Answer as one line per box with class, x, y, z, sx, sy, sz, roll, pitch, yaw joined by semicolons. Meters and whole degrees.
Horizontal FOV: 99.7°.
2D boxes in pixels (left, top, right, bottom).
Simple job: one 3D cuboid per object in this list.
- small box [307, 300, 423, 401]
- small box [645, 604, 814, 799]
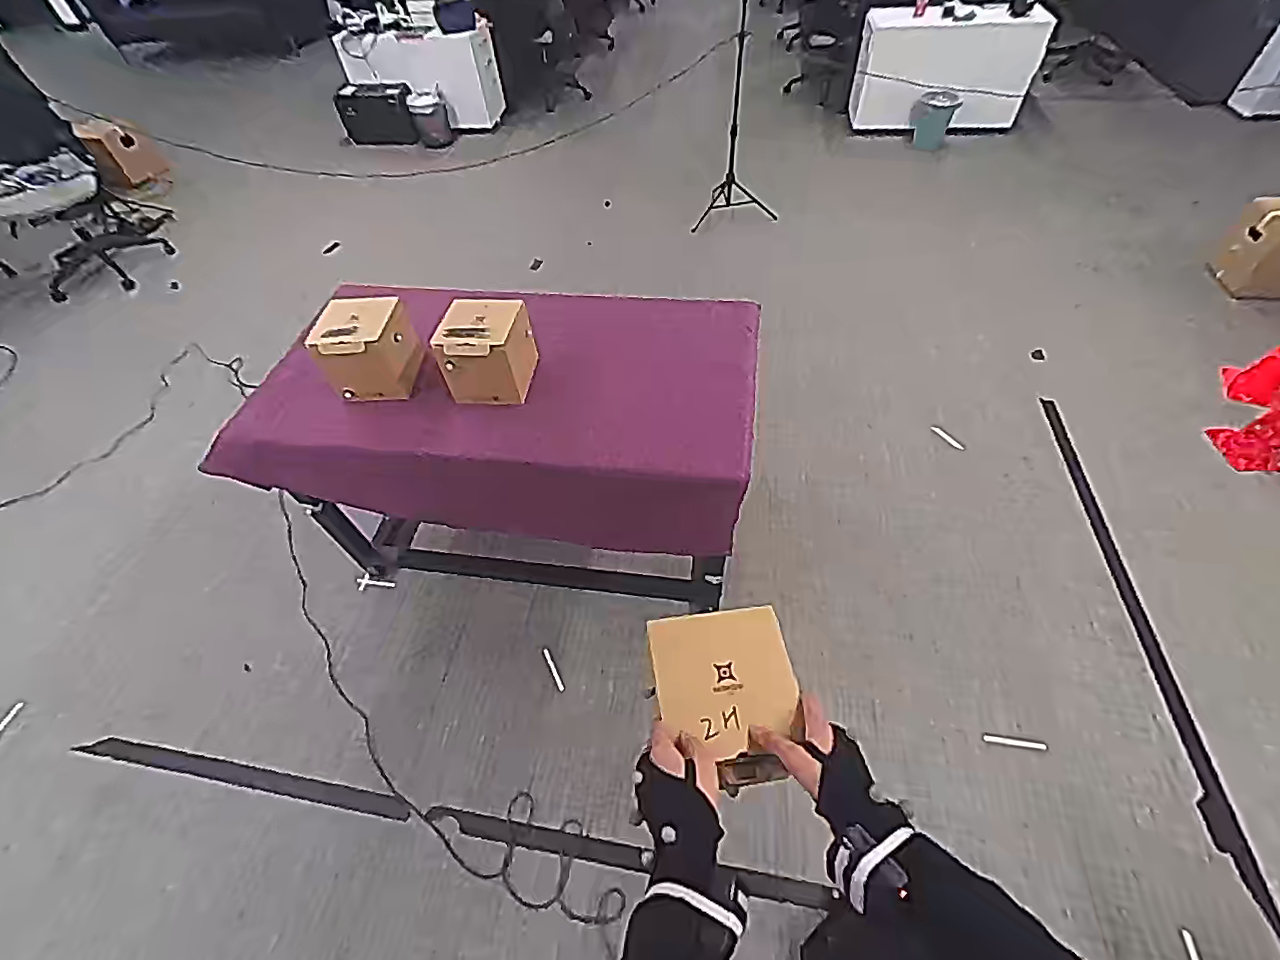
small box;-0.634;-0.299;1.276;0.168;0.176;0.179;-3;51;2
small box;0.098;0.283;0.691;0.168;0.176;0.179;-7;51;-4
